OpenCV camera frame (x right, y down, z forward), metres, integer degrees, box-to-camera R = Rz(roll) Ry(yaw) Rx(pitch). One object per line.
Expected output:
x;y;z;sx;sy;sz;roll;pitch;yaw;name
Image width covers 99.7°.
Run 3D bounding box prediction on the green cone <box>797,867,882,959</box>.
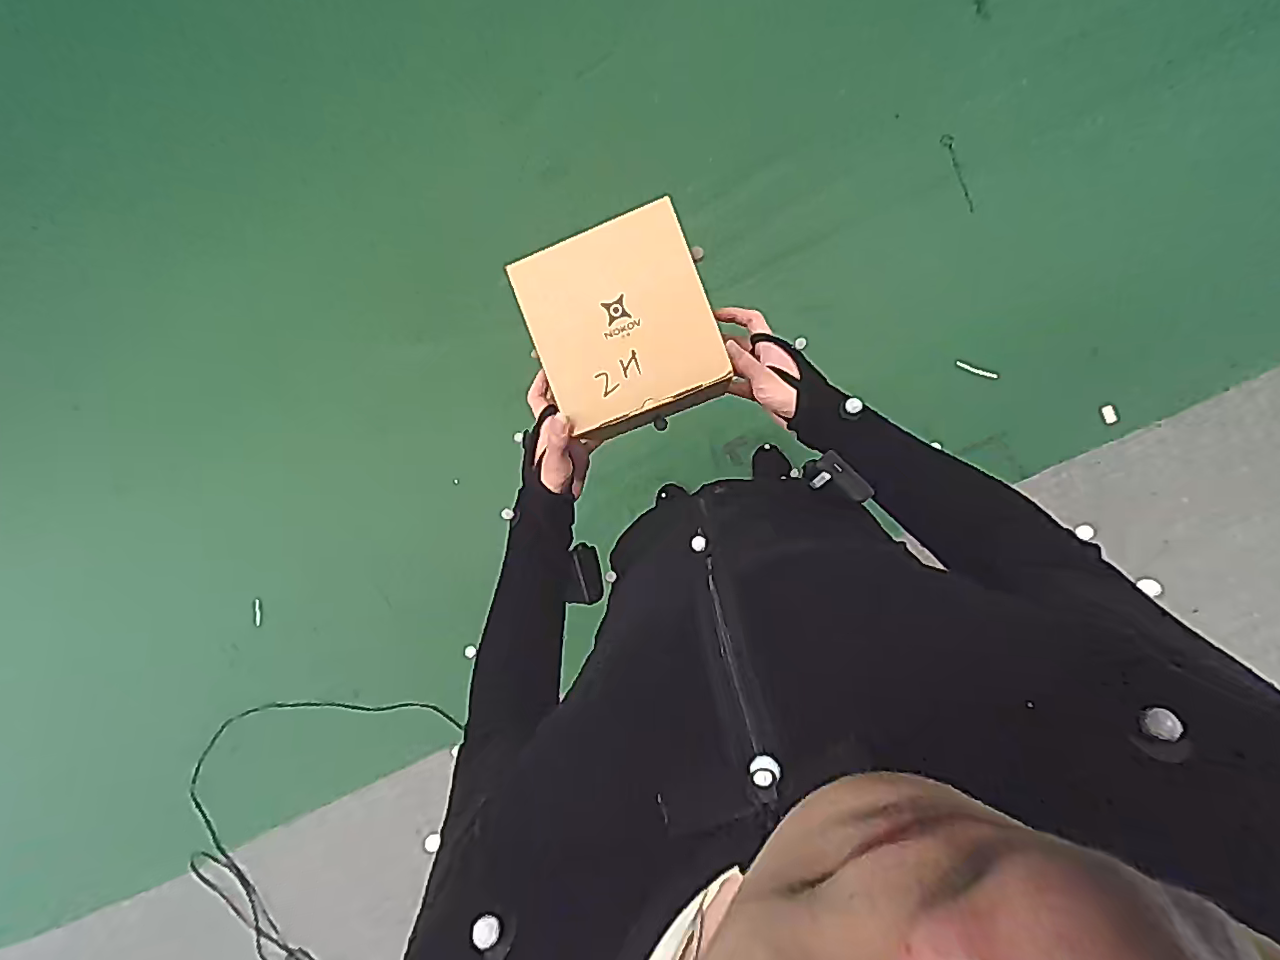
0.581;1.289;1.464;0.202;0.368;0.200;-27;88;7;green cone
